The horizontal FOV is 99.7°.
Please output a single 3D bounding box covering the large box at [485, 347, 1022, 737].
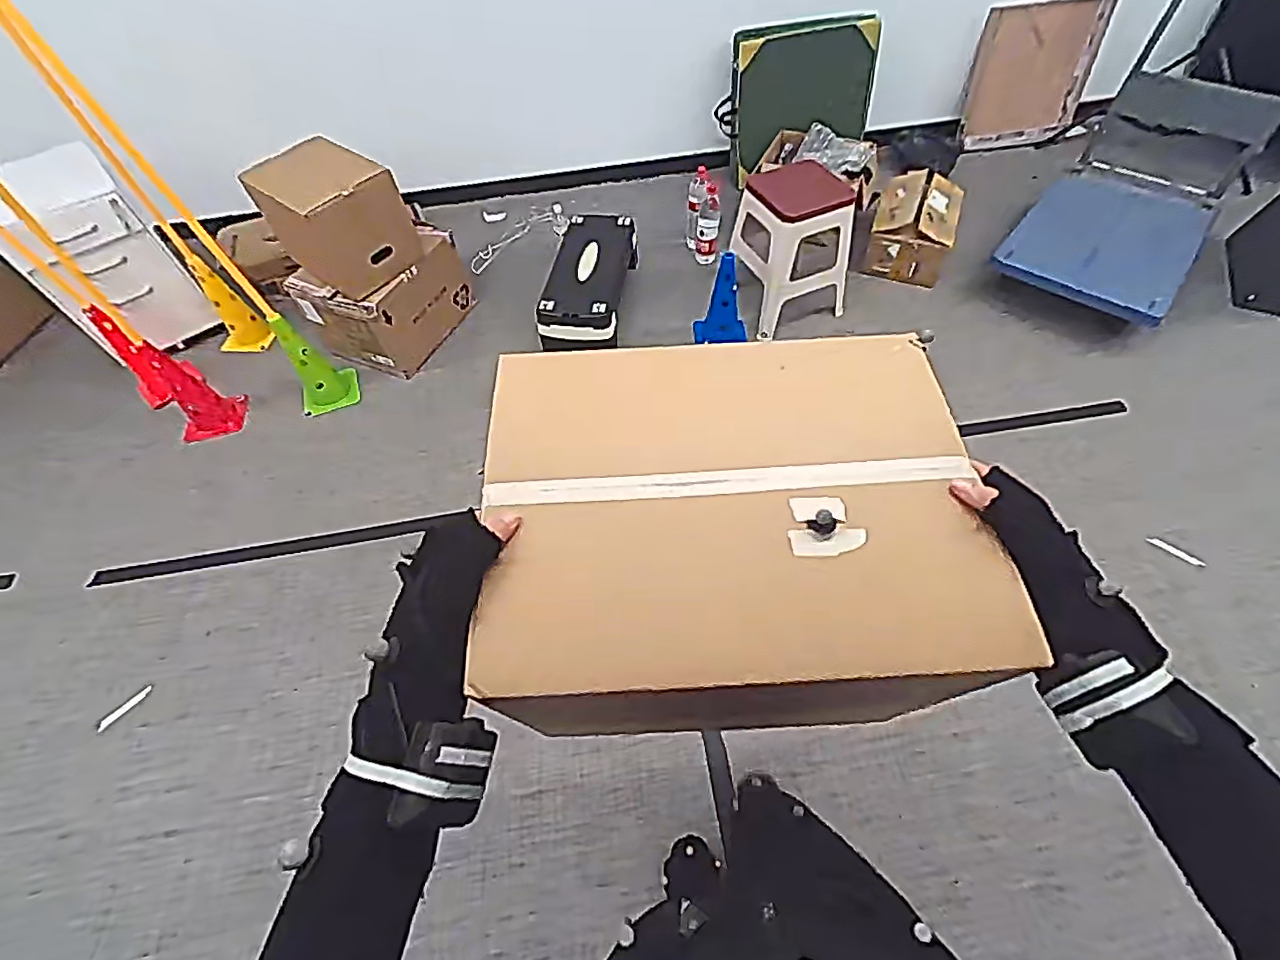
[{"bbox_3d":[0.077,0.085,0.594,0.408,0.320,0.320,-3,60,0],"label":"large box"}]
